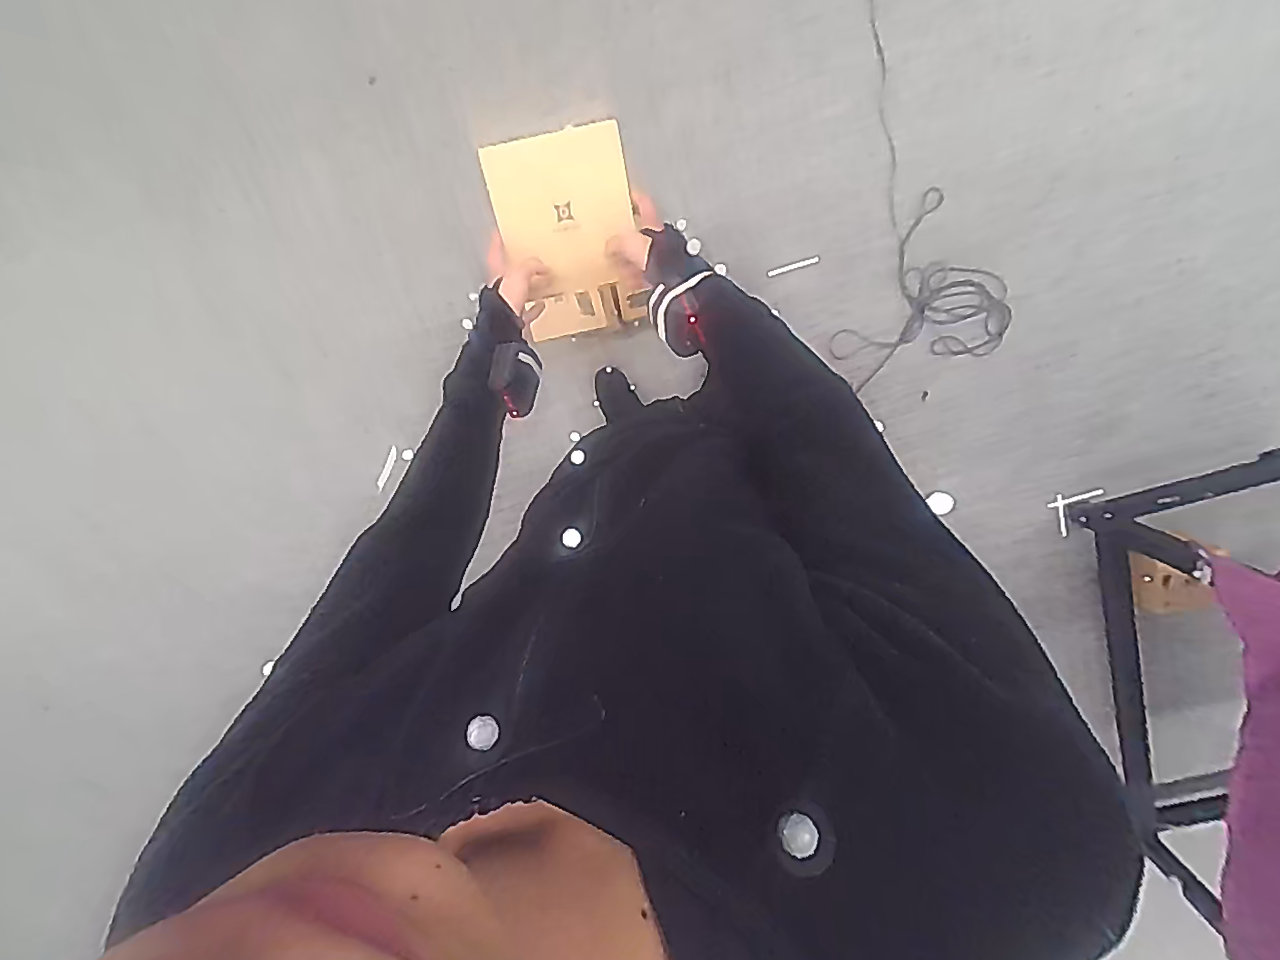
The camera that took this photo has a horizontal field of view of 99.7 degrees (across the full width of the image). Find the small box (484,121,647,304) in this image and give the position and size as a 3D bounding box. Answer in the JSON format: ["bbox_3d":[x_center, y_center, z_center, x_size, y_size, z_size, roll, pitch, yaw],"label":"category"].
[{"bbox_3d":[-0.088,-0.347,0.720,0.168,0.176,0.179,-10,116,4],"label":"small box"}]

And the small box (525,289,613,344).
[{"bbox_3d":[-0.164,-0.420,1.270,0.179,0.176,0.168,-11,104,7],"label":"small box"}]
